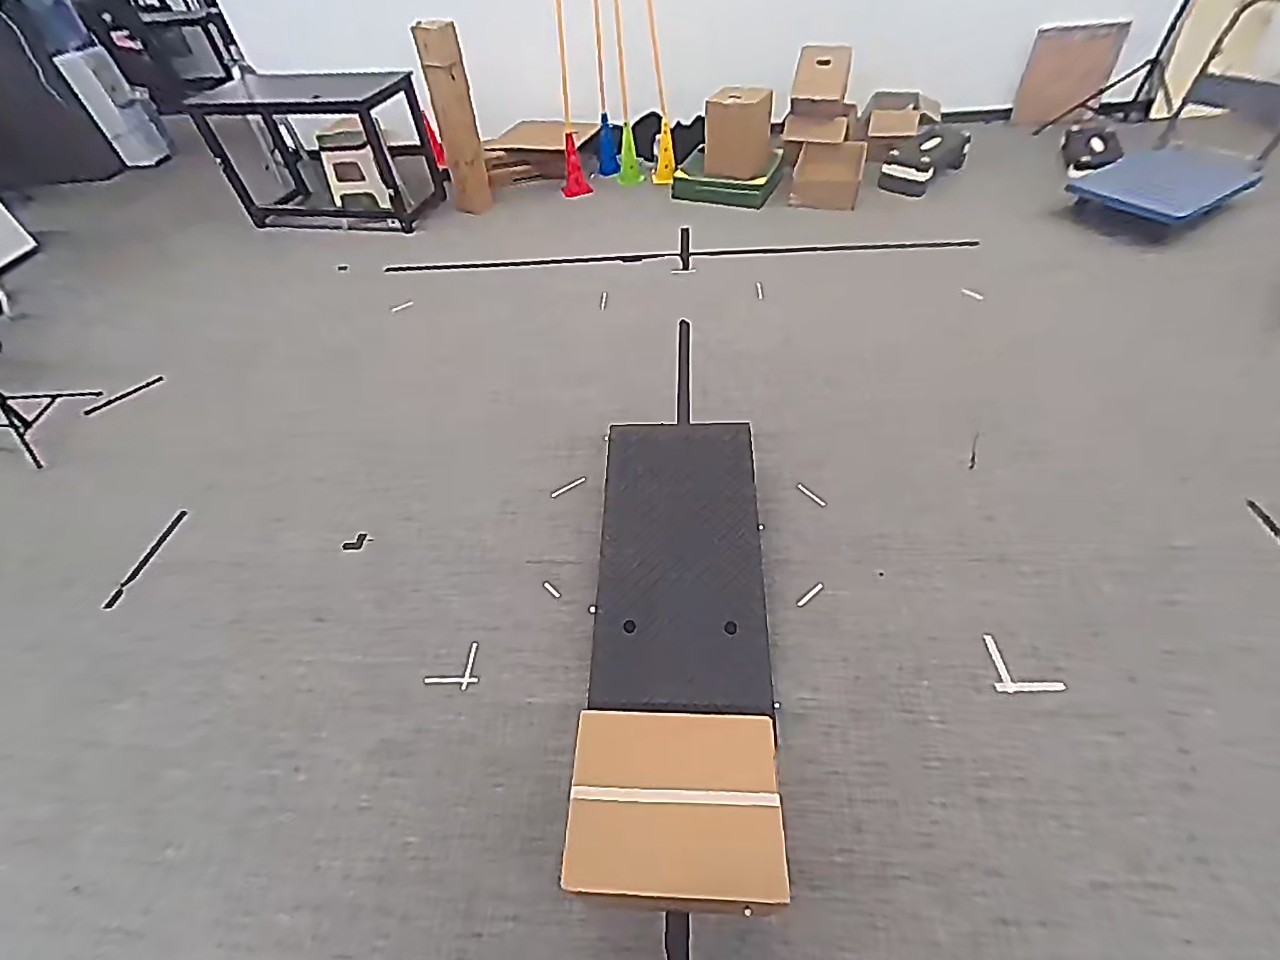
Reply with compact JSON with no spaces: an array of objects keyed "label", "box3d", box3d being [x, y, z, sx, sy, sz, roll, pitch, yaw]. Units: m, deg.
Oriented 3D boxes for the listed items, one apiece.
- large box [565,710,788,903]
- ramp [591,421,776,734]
[{"label":"large box","box3d":[0.079,0.706,1.166,0.408,0.320,0.320,0,48,5]},{"label":"ramp","box3d":[0.127,0.228,1.648,0.509,0.206,0.991,-1,49,3]}]
